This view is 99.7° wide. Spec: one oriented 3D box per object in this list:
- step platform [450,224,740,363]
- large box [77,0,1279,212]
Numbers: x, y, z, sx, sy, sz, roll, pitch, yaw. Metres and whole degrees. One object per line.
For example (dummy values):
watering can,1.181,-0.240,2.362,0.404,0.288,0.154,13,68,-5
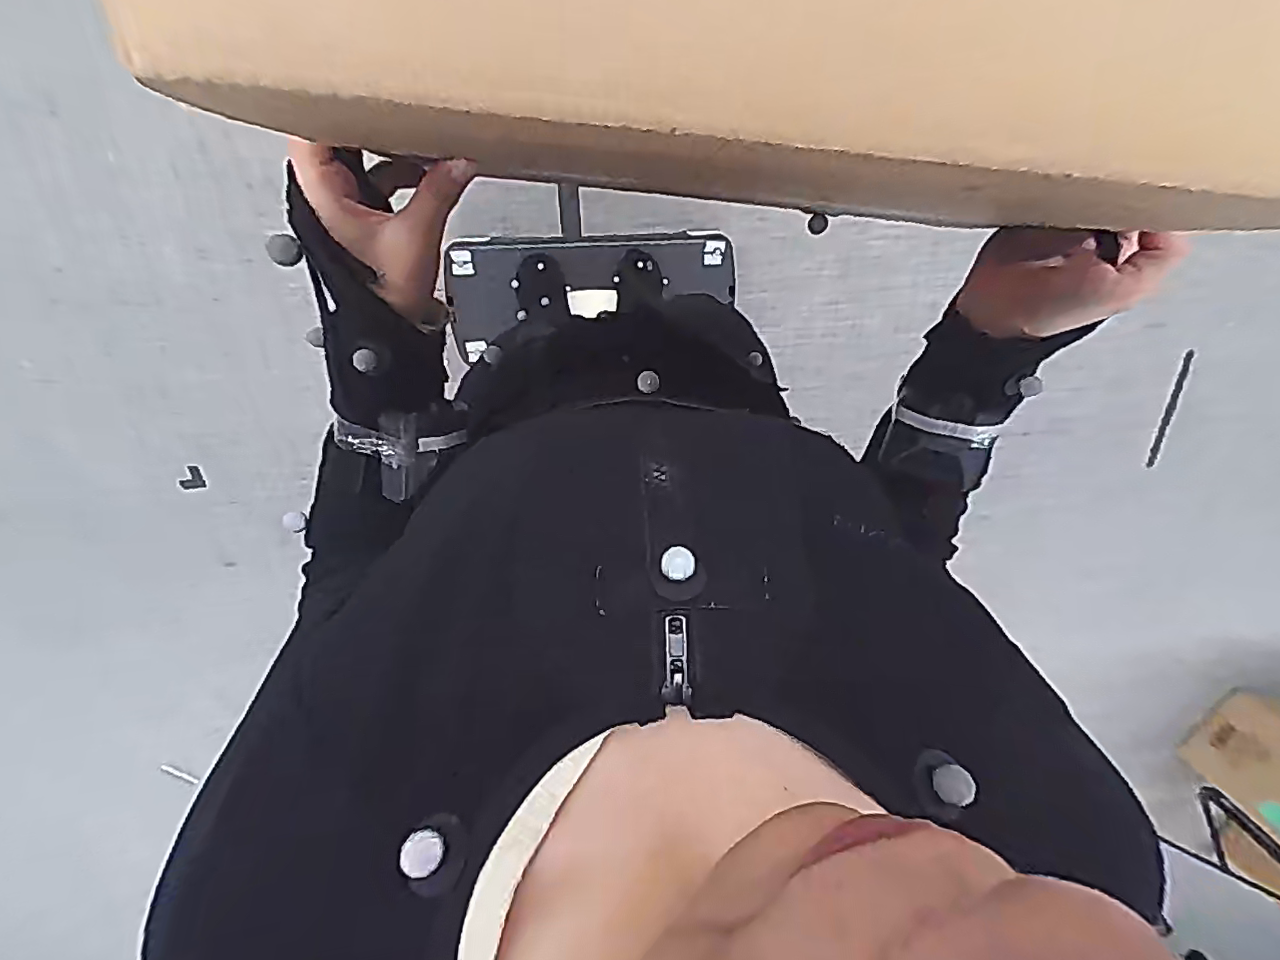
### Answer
step platform,-0.104,-0.452,1.326,0.684,0.204,0.286,0,116,-7
large box,0.049,-0.304,0.227,0.408,0.320,0.320,3,117,-2
